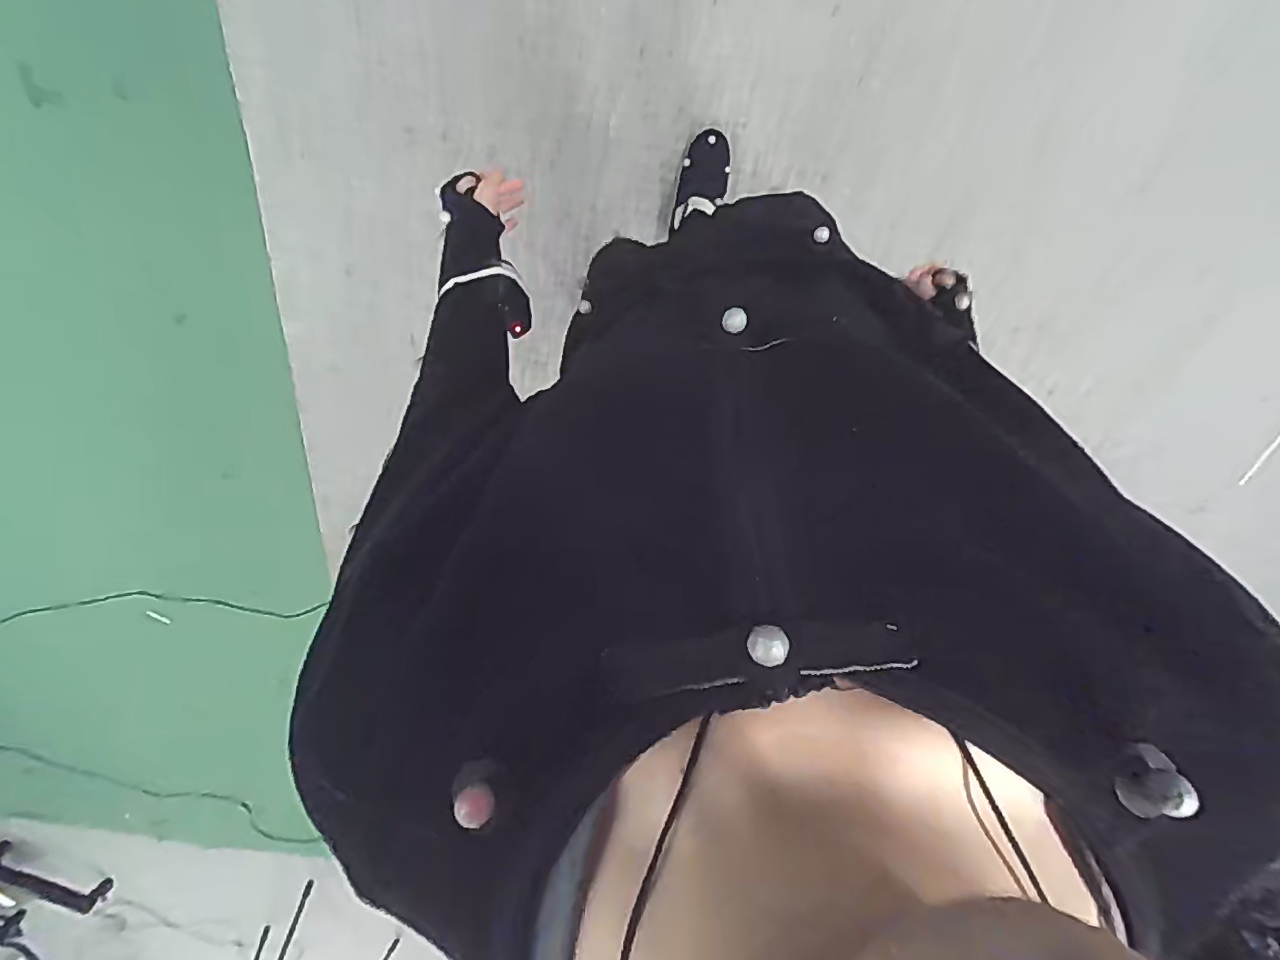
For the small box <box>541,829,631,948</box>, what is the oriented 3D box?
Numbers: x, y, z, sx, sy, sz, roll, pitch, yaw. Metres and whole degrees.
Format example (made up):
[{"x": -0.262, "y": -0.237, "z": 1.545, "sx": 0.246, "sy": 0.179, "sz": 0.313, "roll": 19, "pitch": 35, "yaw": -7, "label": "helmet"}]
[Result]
[{"x": -0.125, "y": 0.959, "z": 1.278, "sx": 0.179, "sy": 0.176, "sz": 0.168, "roll": 10, "pitch": 121, "yaw": -3, "label": "small box"}]
